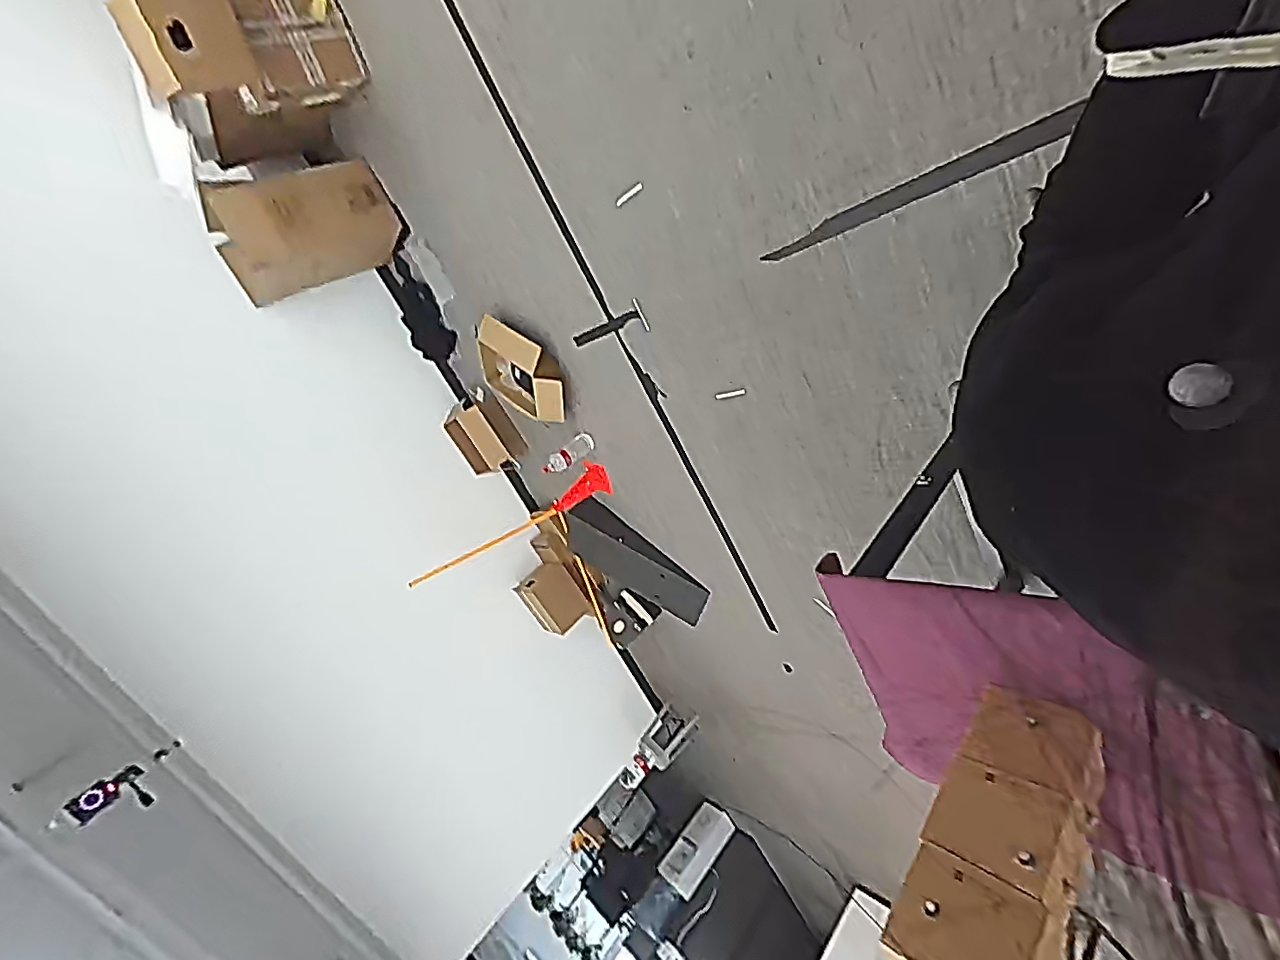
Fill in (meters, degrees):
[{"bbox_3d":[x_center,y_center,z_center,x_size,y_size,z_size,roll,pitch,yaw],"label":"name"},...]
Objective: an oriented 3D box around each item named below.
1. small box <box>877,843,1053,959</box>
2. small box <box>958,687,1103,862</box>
[{"bbox_3d":[0.475,0.683,0.786,0.168,0.176,0.179,8,131,50],"label":"small box"},{"bbox_3d":[0.693,0.509,0.956,0.168,0.176,0.179,4,126,50],"label":"small box"}]
